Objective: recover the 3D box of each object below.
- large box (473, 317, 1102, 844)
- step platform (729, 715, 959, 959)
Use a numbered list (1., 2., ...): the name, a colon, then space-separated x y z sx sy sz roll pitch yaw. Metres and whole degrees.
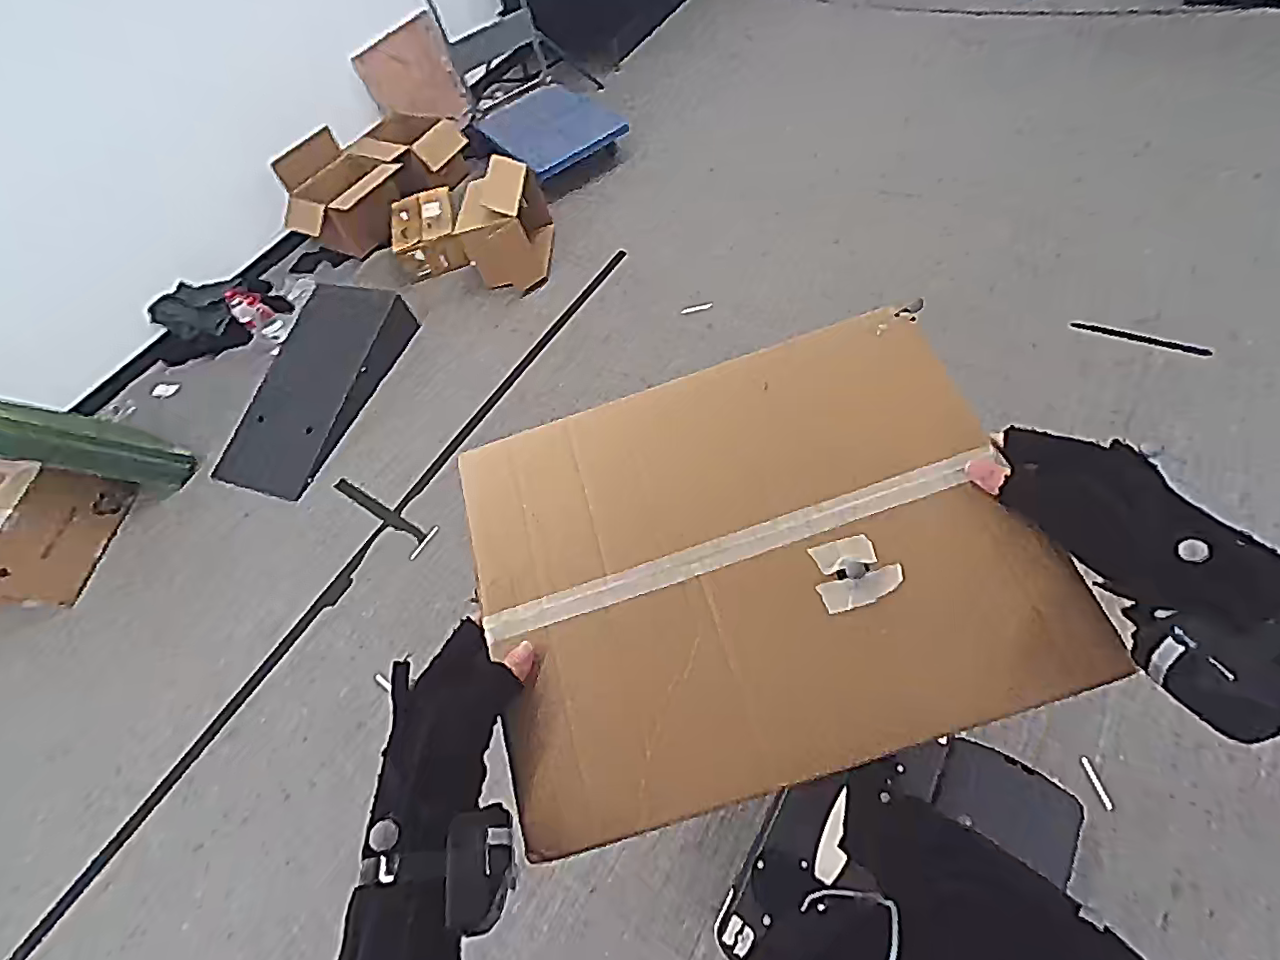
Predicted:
1. large box: 0.100 0.108 0.556 0.408 0.320 0.320 -19 67 2
2. step platform: 0.470 0.754 1.234 0.286 0.204 0.684 23 66 24
